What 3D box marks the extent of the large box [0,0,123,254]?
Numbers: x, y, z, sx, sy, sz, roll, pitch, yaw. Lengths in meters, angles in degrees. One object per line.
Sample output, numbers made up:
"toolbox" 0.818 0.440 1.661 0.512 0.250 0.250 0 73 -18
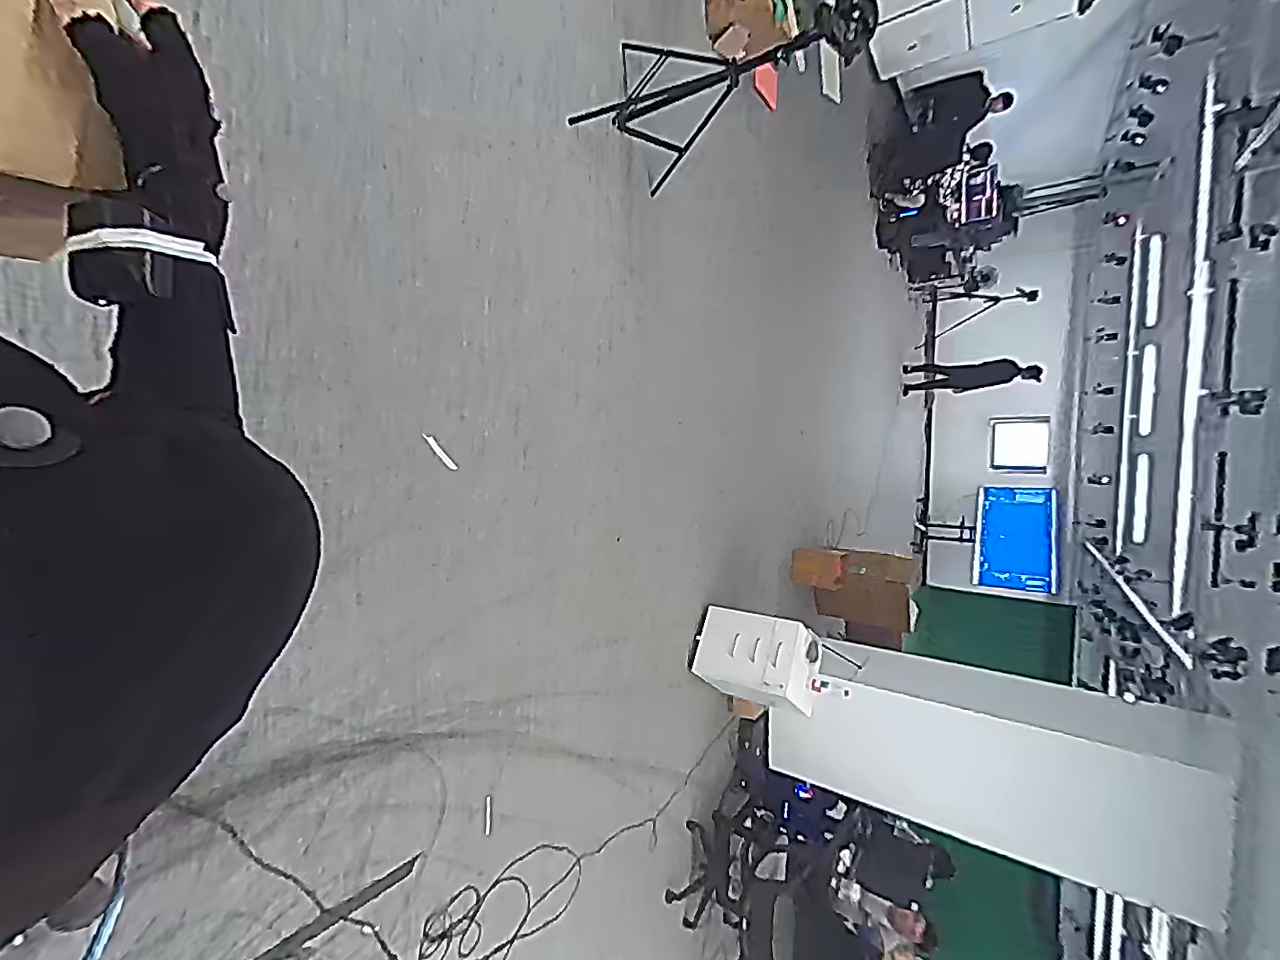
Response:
"large box" -0.627 -0.352 0.308 0.408 0.320 0.320 -11 104 -56
